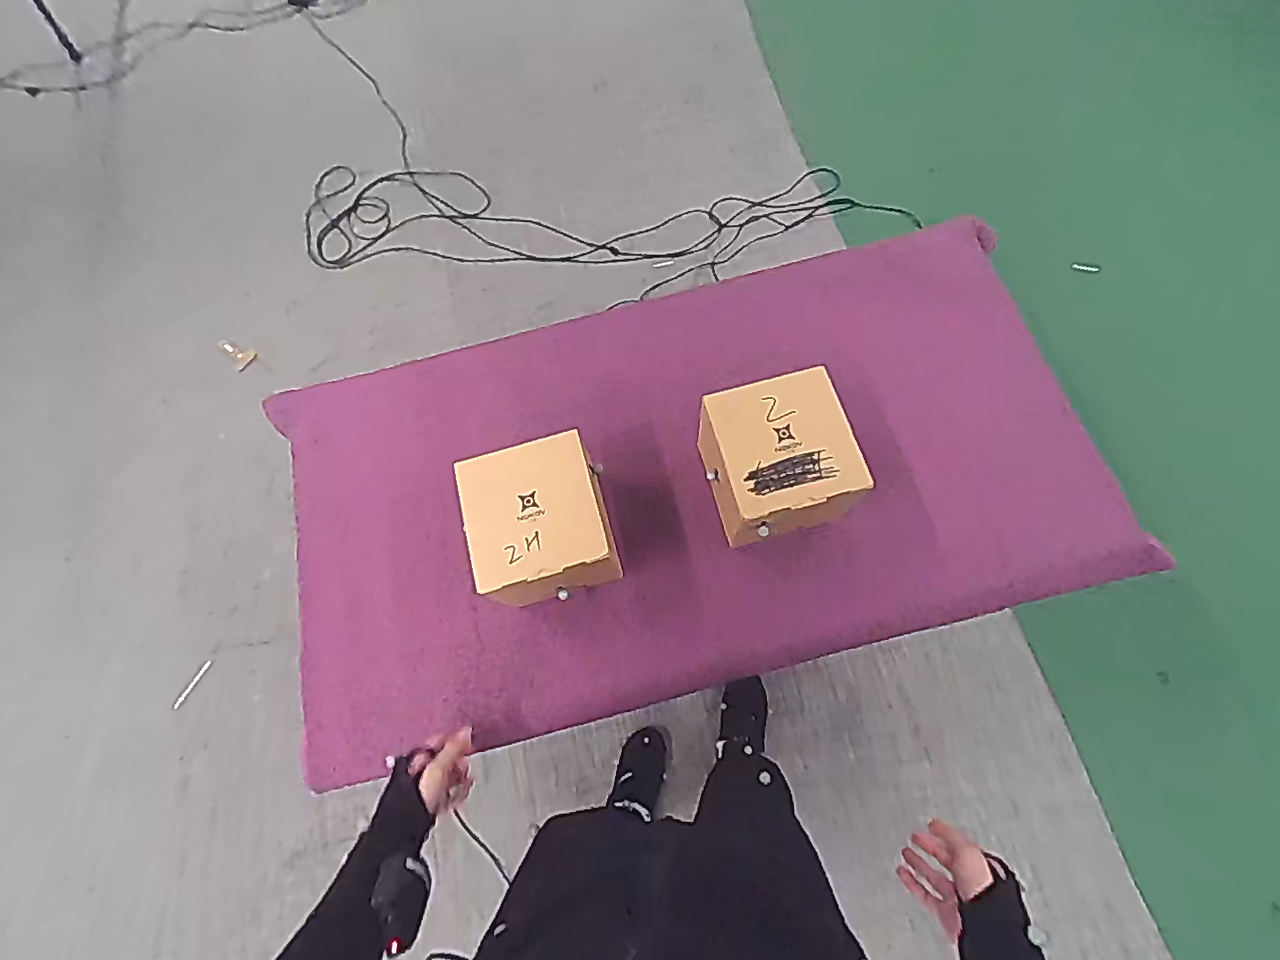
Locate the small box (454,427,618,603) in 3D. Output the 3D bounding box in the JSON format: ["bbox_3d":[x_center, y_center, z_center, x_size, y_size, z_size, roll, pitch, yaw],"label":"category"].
[{"bbox_3d":[-0.133,0.056,0.733,0.168,0.176,0.179,-16,72,-2],"label":"small box"}]
